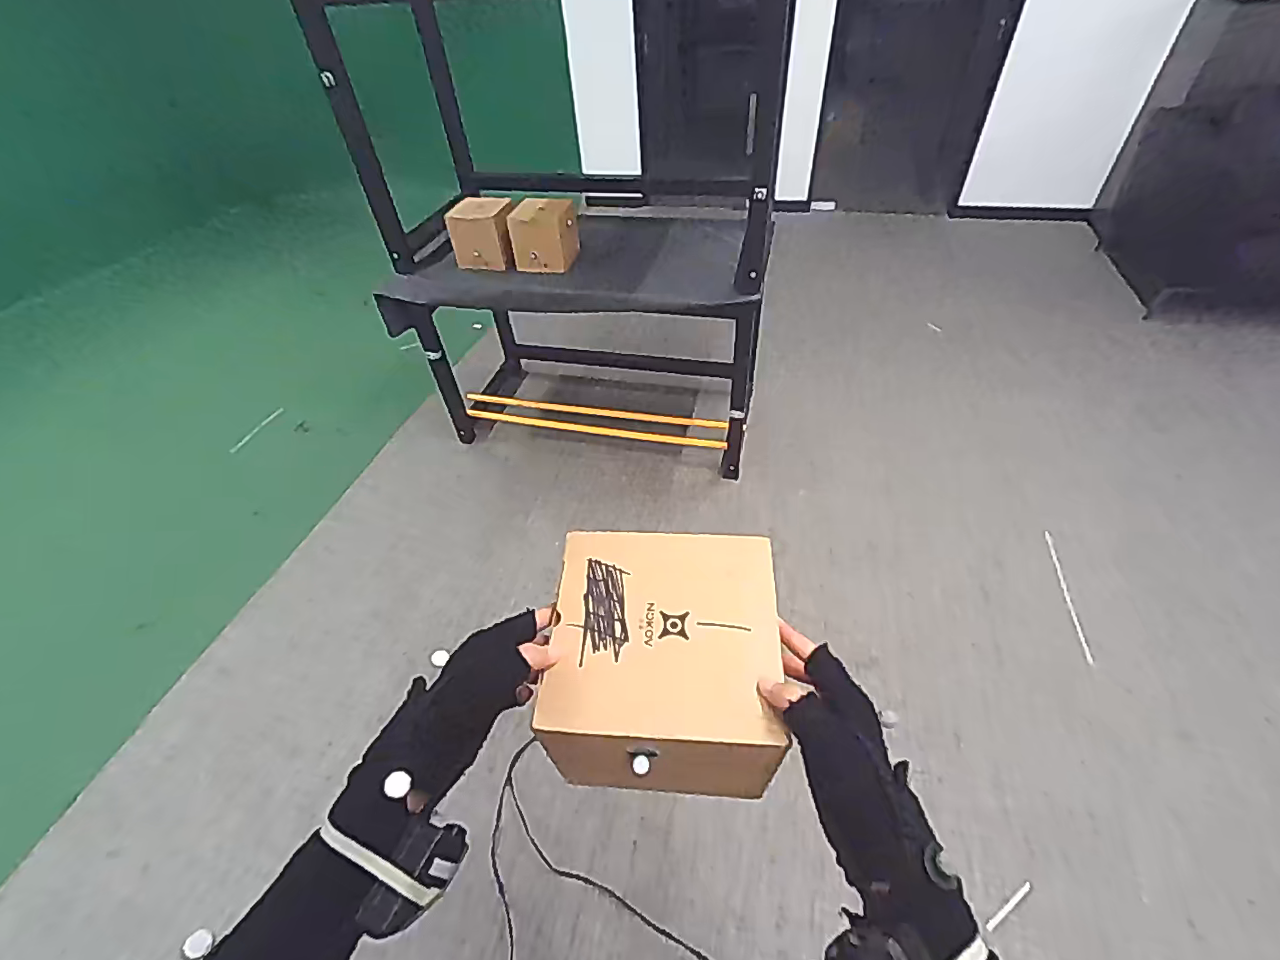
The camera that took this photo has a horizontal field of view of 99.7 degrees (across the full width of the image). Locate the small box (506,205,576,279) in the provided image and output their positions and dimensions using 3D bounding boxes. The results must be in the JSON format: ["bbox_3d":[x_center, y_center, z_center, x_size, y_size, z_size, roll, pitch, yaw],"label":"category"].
[{"bbox_3d":[-0.312,-0.772,1.751,0.168,0.176,0.179,6,45,11],"label":"small box"}]

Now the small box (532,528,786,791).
[{"bbox_3d":[0.021,0.159,0.475,0.179,0.176,0.168,2,49,4],"label":"small box"}]

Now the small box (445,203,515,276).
[{"bbox_3d":[-0.512,-0.795,1.784,0.168,0.176,0.179,6,46,10],"label":"small box"}]
